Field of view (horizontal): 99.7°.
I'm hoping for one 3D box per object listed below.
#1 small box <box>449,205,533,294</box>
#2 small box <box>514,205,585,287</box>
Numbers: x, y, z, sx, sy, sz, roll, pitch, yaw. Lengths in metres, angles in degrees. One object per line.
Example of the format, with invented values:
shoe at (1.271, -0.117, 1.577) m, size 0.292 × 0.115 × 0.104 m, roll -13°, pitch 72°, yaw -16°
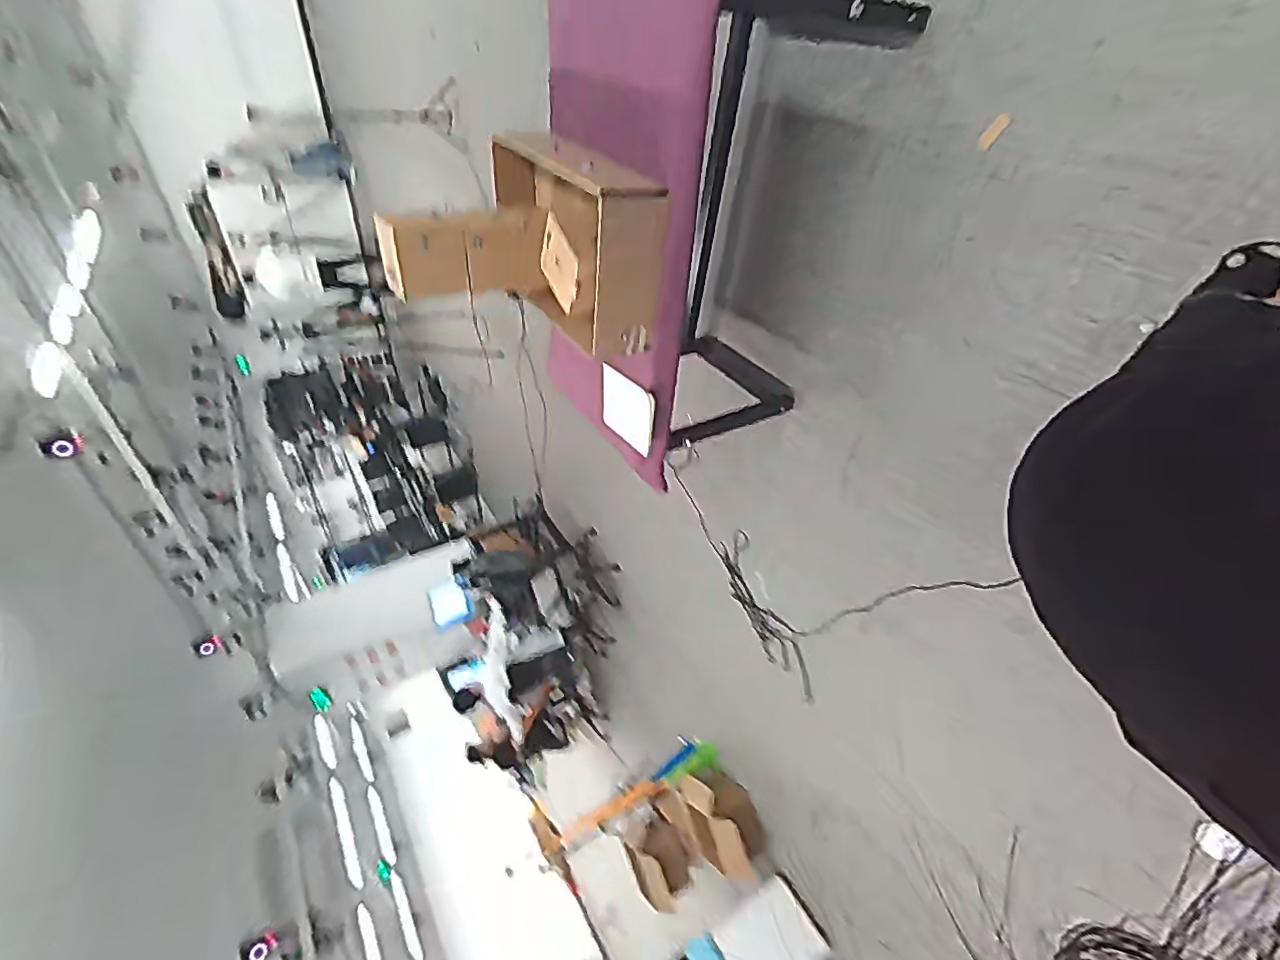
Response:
small box at (-0.399, -0.631, 1.471) m, size 0.168 × 0.176 × 0.179 m, roll 44°, pitch 143°, yaw 37°
small box at (-0.268, -0.679, 1.553) m, size 0.179 × 0.176 × 0.168 m, roll 46°, pitch 144°, yaw 35°
